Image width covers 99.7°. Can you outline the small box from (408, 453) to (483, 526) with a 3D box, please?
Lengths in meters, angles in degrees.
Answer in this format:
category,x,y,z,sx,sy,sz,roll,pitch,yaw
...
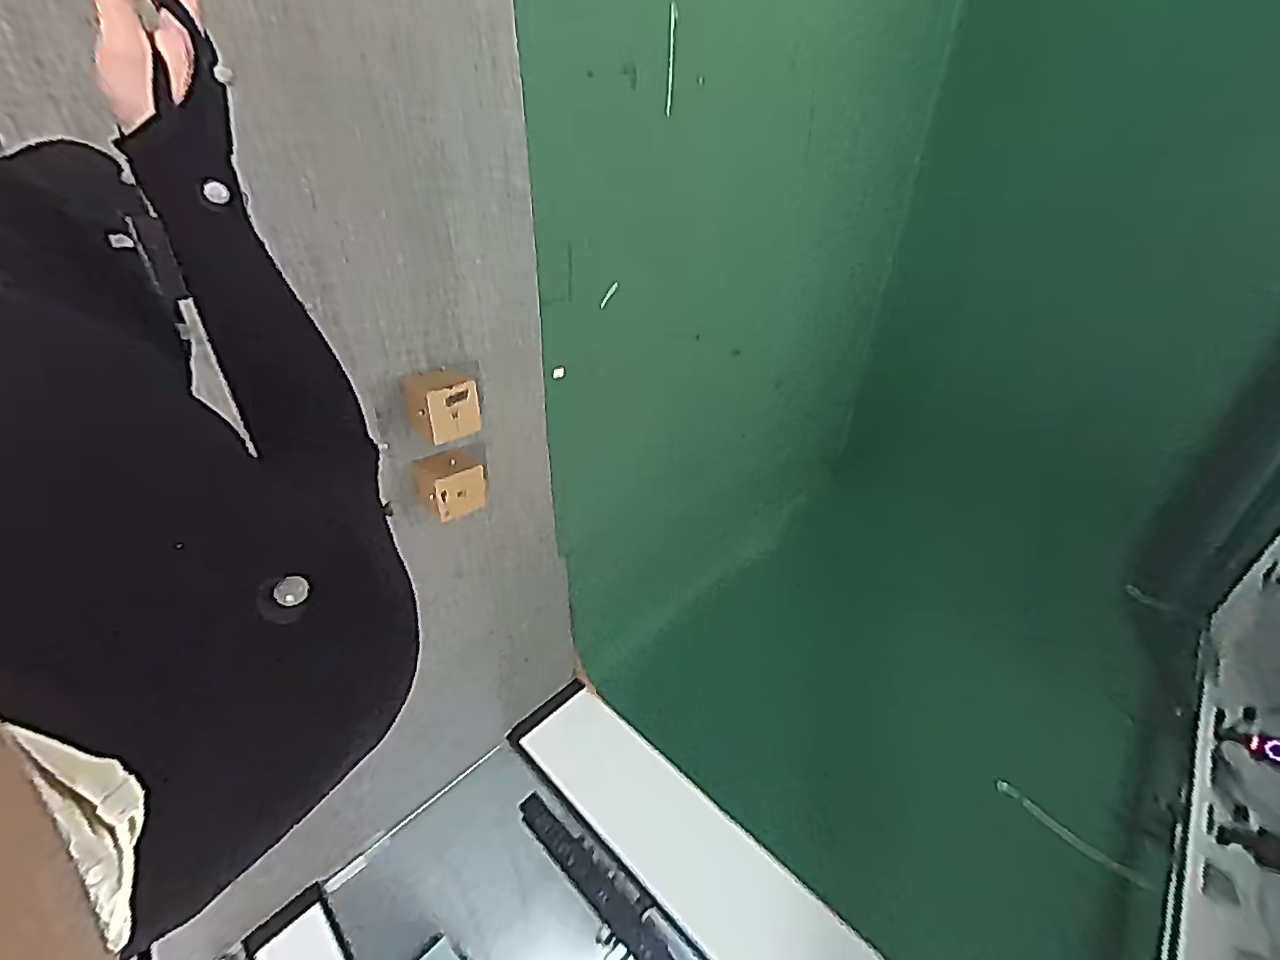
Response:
category,x,y,z,sx,sy,sz,roll,pitch,yaw
small box,-0.664,0.026,1.846,0.179,0.176,0.168,-26,131,-41

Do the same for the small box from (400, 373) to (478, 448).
category,x,y,z,sx,sy,sz,roll,pitch,yaw
small box,-0.637,-0.228,1.709,0.168,0.176,0.179,-26,132,-39
